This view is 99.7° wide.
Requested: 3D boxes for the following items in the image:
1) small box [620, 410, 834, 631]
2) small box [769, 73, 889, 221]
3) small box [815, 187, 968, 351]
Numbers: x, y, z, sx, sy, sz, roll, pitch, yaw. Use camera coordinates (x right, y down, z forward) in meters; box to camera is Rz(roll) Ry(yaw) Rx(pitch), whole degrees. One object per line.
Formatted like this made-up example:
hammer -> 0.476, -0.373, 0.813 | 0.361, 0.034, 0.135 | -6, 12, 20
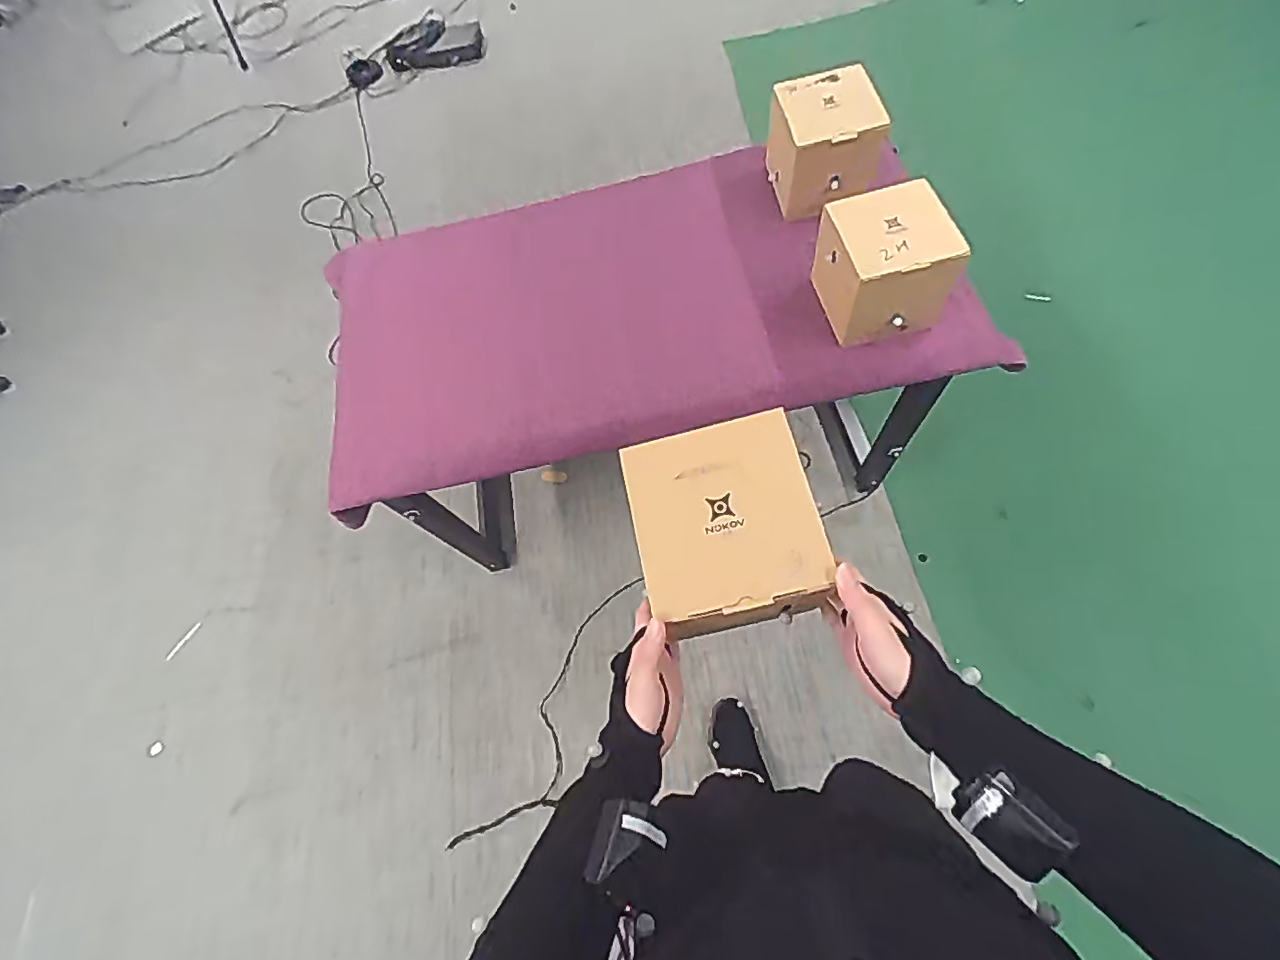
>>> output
small box -> 0.087, 0.056, 0.568 | 0.168, 0.176, 0.179 | -14, 67, 5
small box -> 0.355, -0.632, 1.050 | 0.168, 0.176, 0.179 | -11, 68, 4
small box -> 0.409, -0.351, 0.916 | 0.168, 0.176, 0.179 | -13, 64, 5
